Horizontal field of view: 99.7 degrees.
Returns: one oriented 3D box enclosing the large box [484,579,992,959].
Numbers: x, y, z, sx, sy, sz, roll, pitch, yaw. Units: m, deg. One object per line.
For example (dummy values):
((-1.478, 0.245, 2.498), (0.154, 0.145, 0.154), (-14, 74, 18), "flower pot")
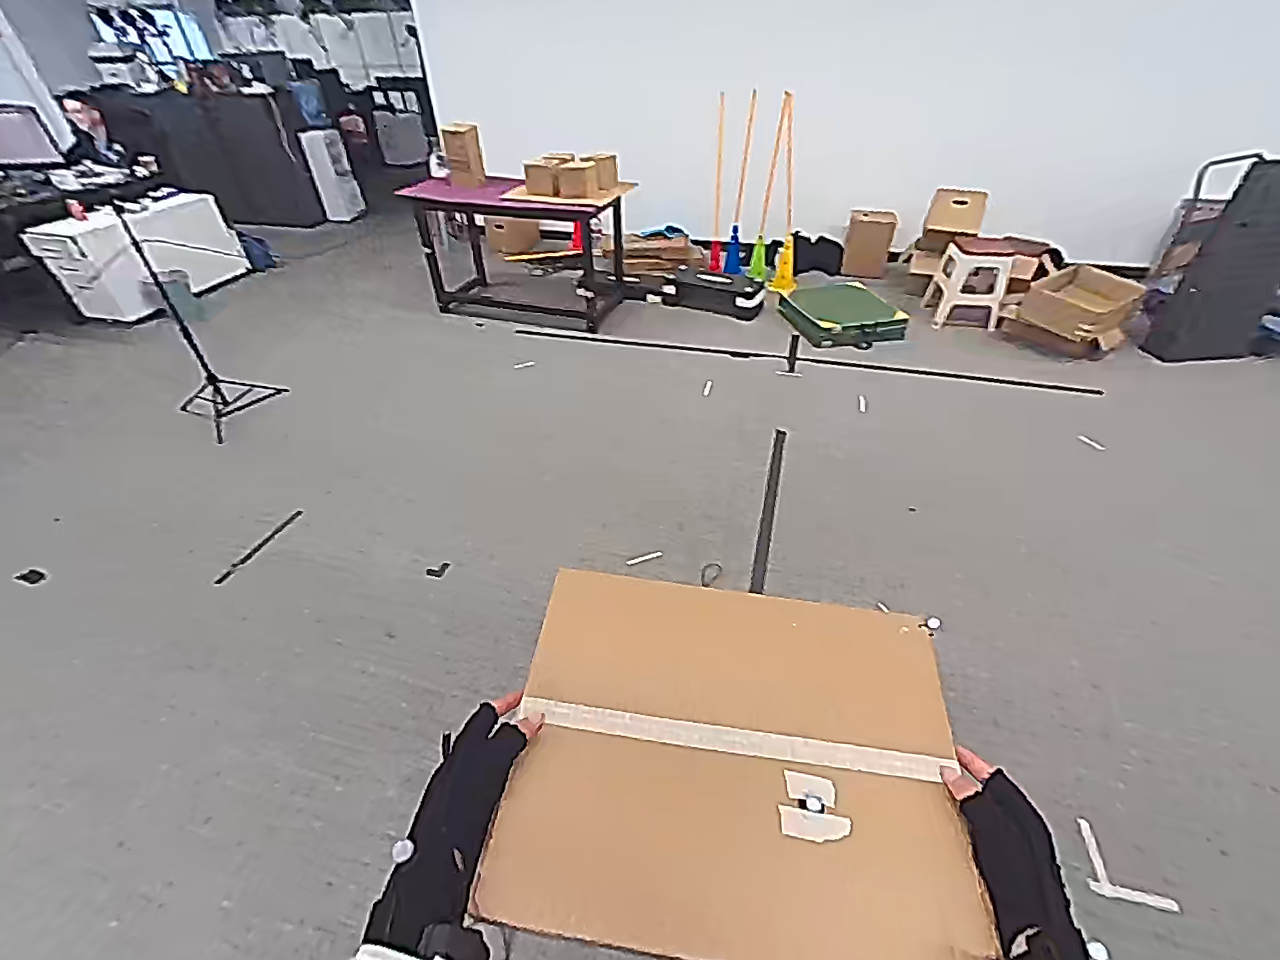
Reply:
((0.081, 0.345, 0.622), (0.408, 0.320, 0.320), (7, 50, 3), "large box")
